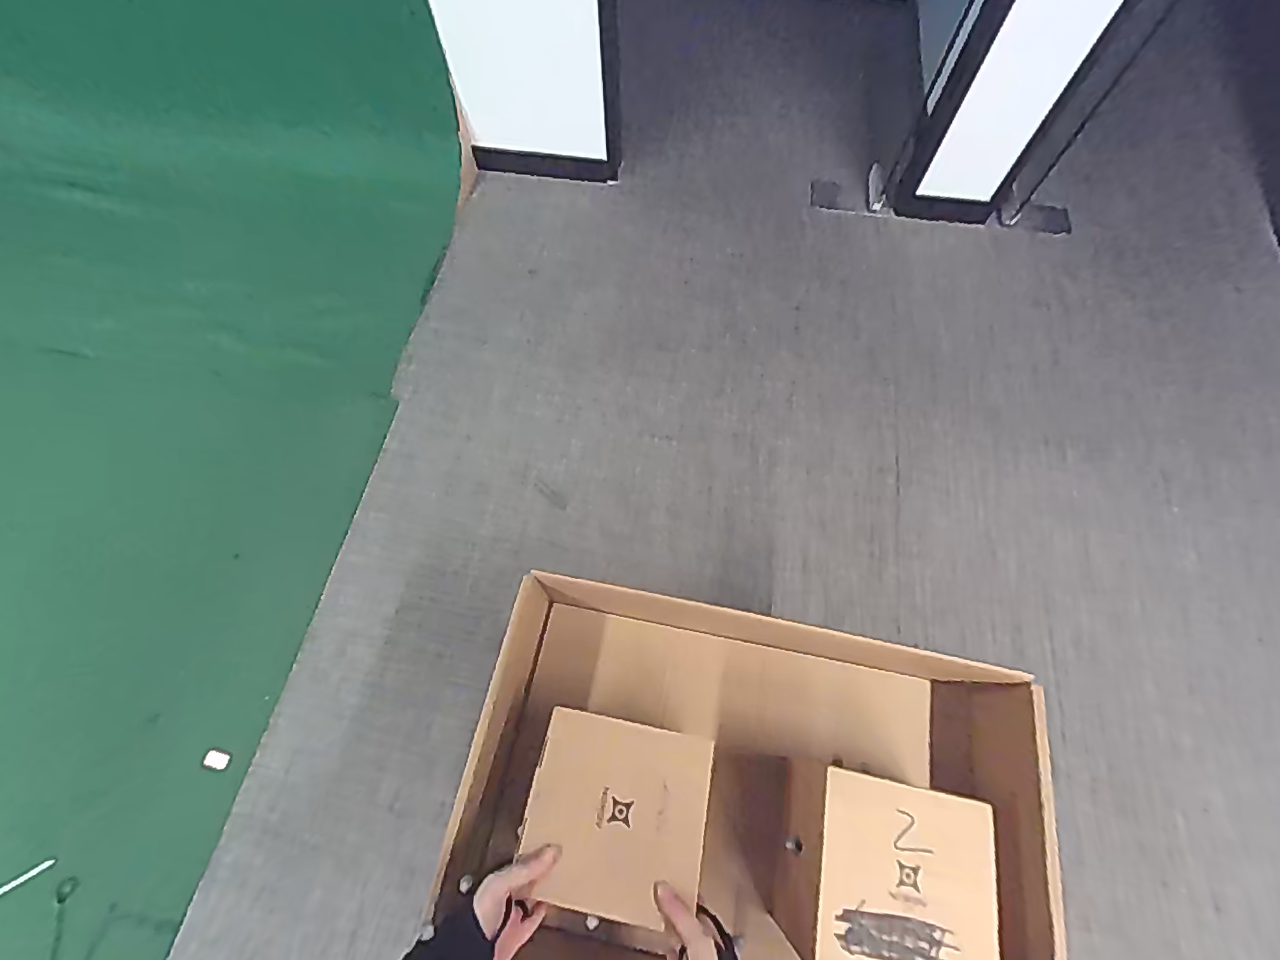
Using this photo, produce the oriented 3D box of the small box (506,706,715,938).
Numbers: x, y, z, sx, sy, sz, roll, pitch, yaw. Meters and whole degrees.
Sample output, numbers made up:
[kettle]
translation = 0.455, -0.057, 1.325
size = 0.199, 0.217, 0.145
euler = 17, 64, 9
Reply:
[small box]
translation = -0.024, 0.365, 0.594
size = 0.179, 0.176, 0.168
euler = 10, 59, 5
